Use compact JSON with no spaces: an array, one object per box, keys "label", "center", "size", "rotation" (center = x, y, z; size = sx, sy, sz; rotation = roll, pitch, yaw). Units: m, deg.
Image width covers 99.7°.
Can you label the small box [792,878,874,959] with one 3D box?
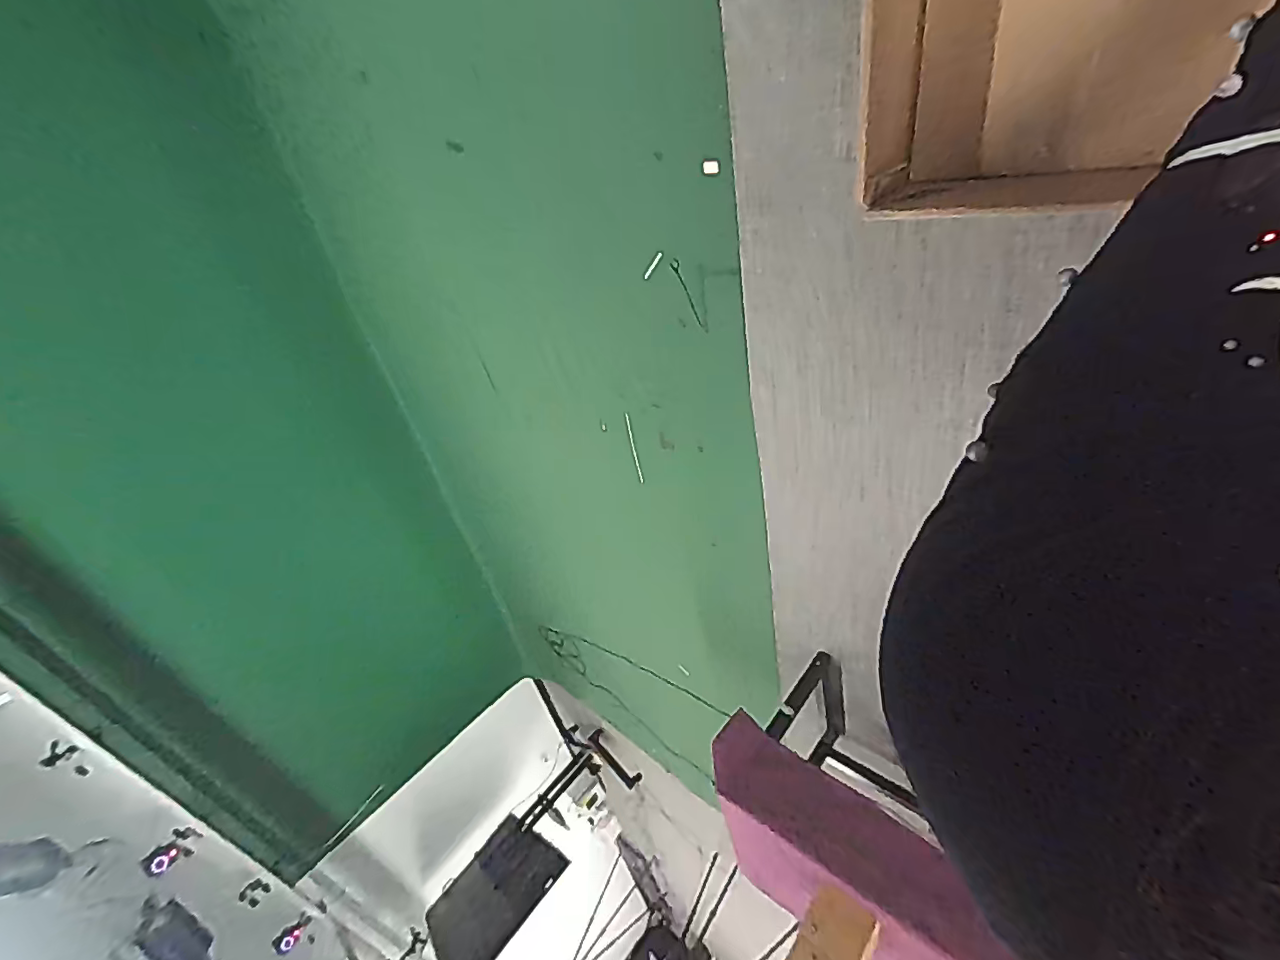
[{"label":"small box","center":[0.571,1.335,1.594],"size":[0.179,0.176,0.168],"rotation":[20,135,41]}]

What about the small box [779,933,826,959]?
[{"label":"small box","center":[0.463,1.424,1.508],"size":[0.168,0.176,0.179],"rotation":[22,137,39]}]
